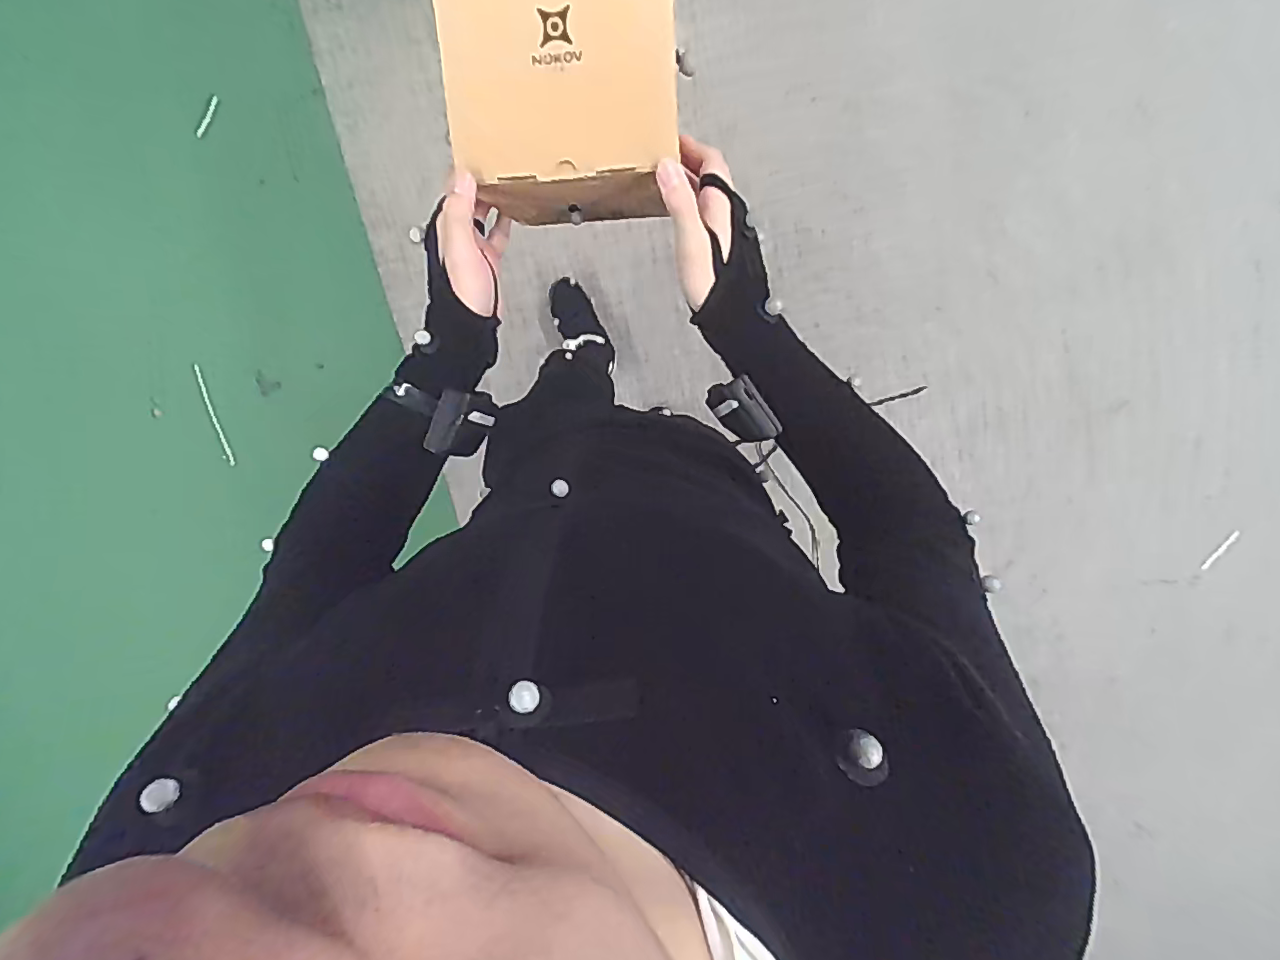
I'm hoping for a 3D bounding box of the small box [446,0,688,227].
[{"bbox_3d":[-0.046,-0.323,0.448,0.168,0.176,0.179,-2,106,5],"label":"small box"}]
